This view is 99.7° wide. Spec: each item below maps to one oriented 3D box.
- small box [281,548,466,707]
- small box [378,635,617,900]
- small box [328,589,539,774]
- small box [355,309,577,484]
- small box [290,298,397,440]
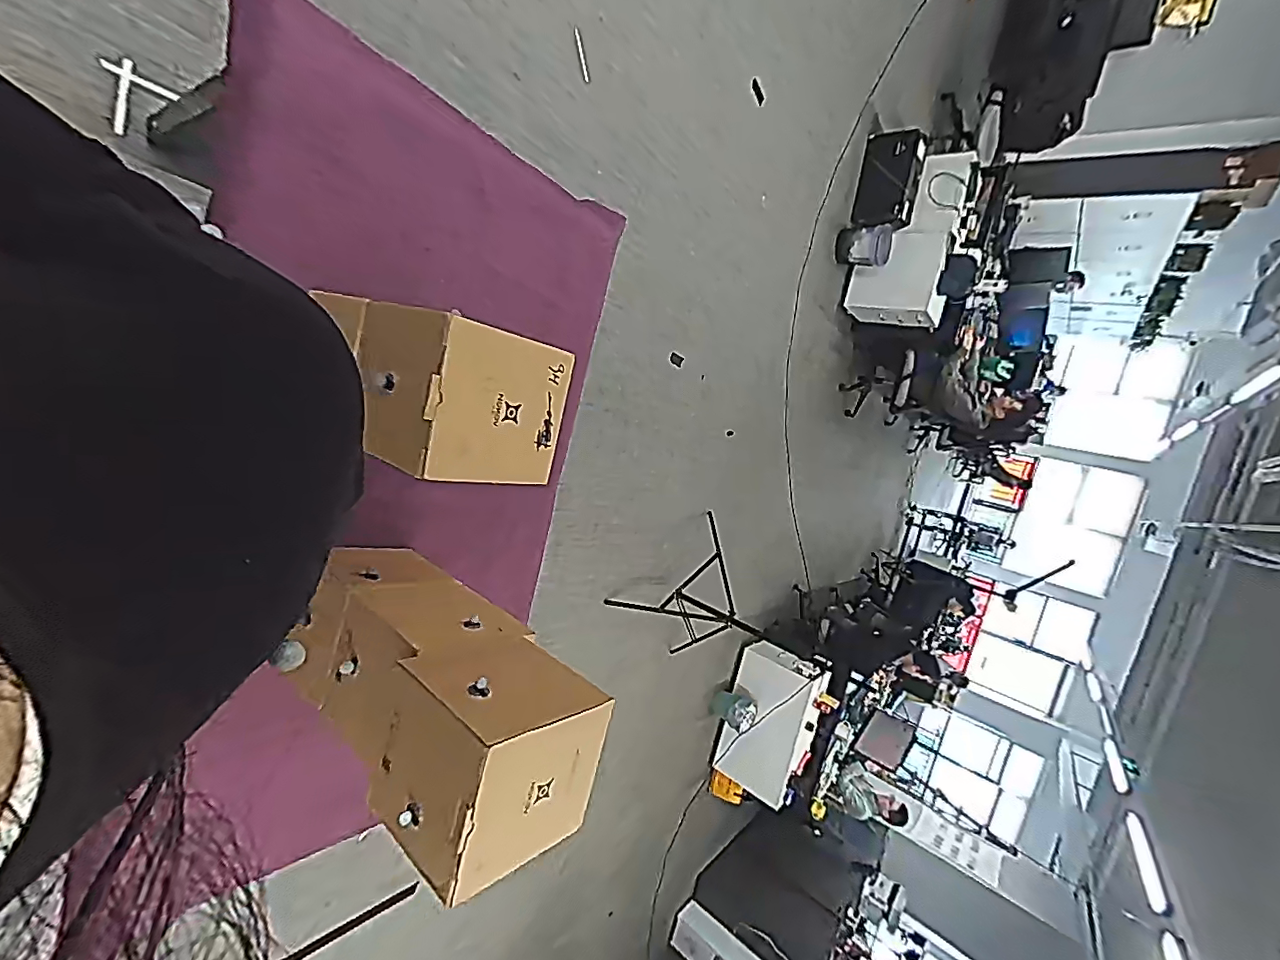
[{"bbox_3d":[-0.397,0.205,0.803,0.179,0.176,0.168,12,96,-54],"label":"small box"},{"bbox_3d":[-0.158,0.291,0.597,0.179,0.176,0.168,6,101,-54],"label":"small box"},{"bbox_3d":[-0.269,0.250,0.710,0.179,0.176,0.168,11,95,-53],"label":"small box"},{"bbox_3d":[-0.208,-0.098,0.642,0.179,0.176,0.168,4,102,-54],"label":"small box"},{"bbox_3d":[-0.339,-0.138,0.732,0.179,0.176,0.168,8,98,-55],"label":"small box"}]
